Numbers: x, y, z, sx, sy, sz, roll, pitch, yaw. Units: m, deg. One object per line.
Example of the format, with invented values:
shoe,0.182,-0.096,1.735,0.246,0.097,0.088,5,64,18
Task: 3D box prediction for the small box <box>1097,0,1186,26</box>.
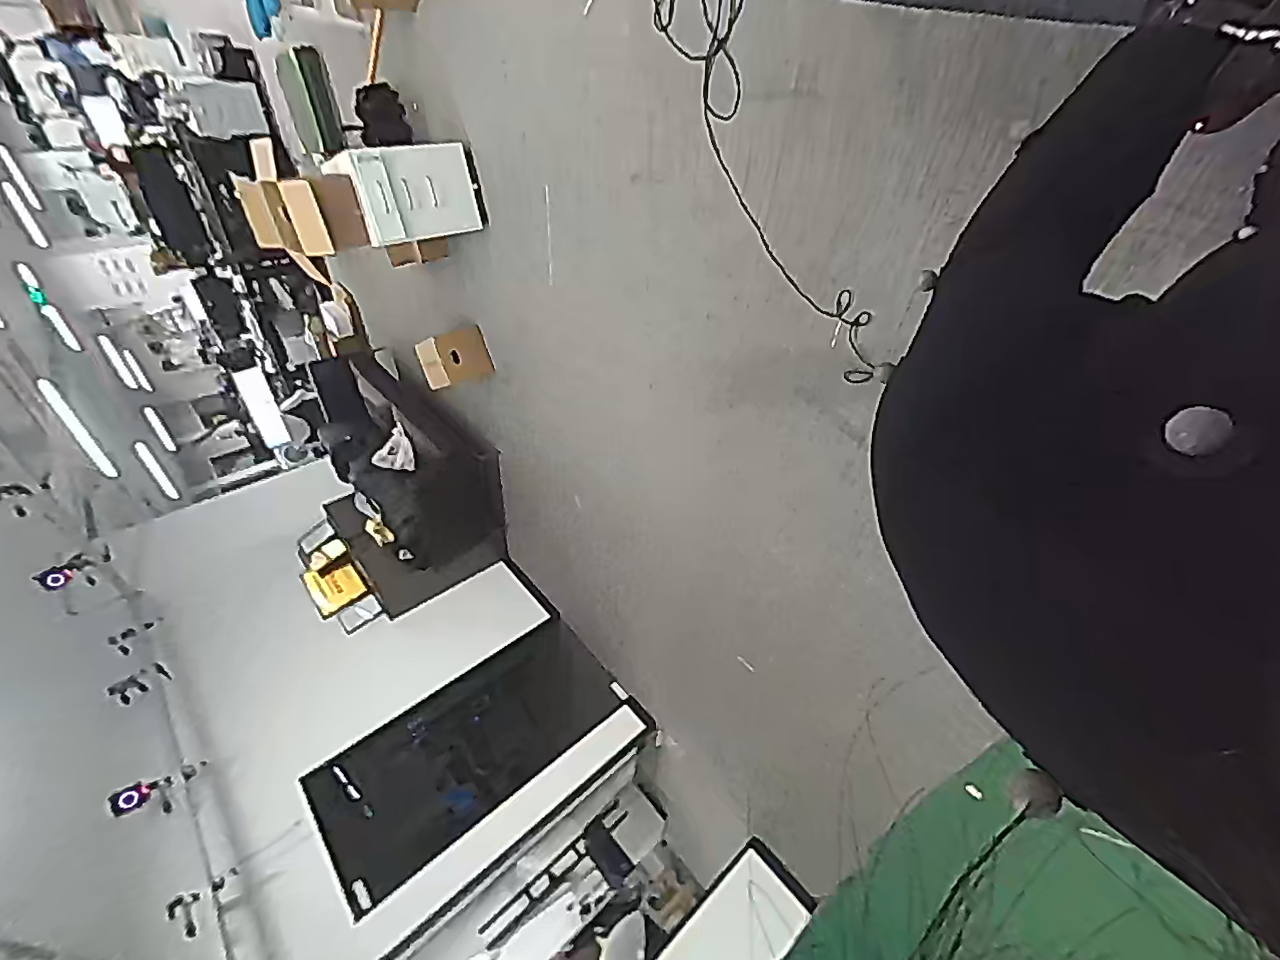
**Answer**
small box,0.815,-0.852,0.849,0.179,0.176,0.168,53,146,17
